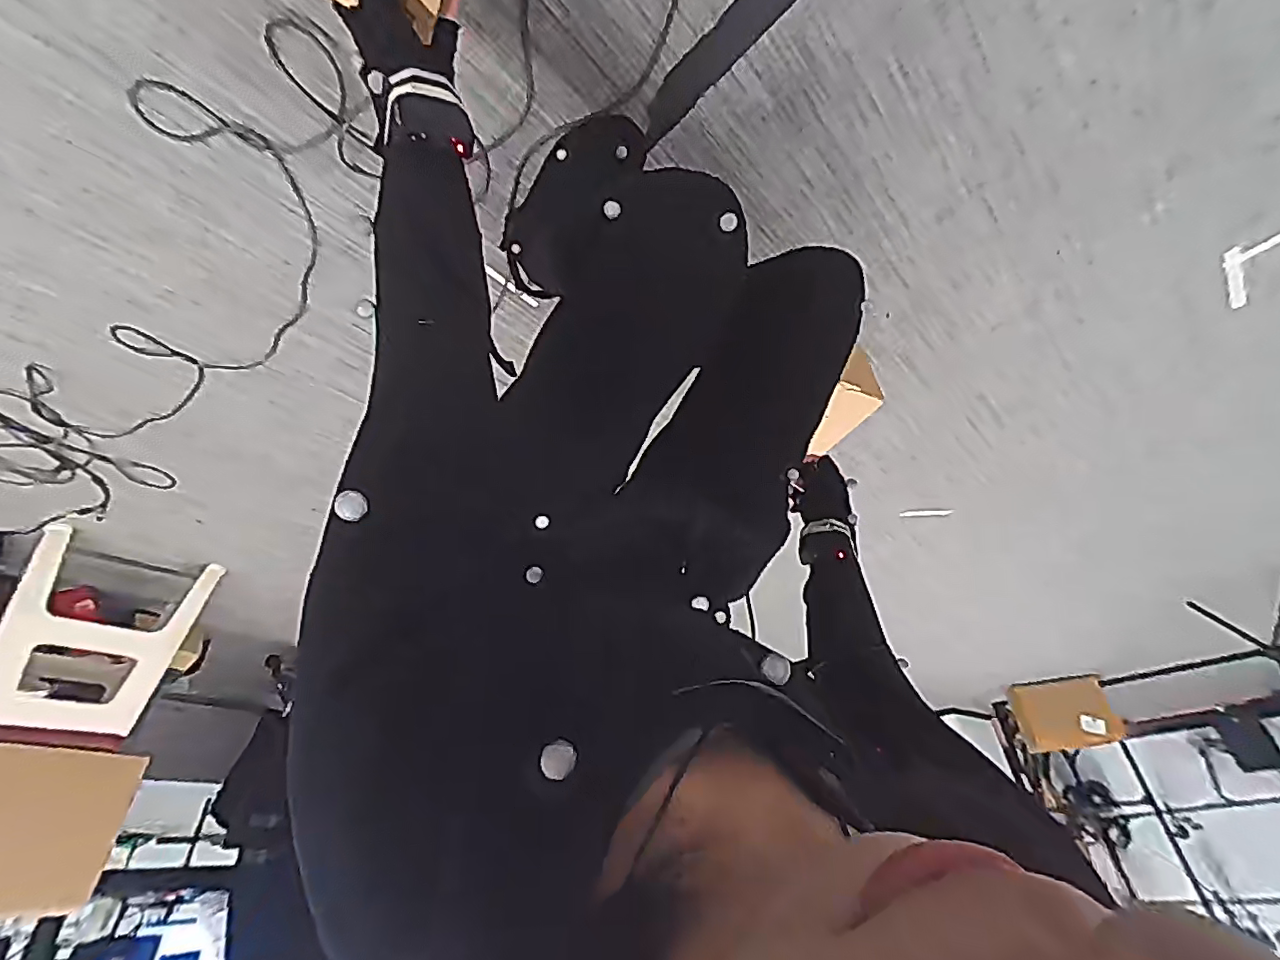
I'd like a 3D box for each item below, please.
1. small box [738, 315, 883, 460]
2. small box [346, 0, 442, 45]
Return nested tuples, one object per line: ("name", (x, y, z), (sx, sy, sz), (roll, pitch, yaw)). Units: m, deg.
("small box", (0.296, -0.167, 0.985), (0.168, 0.176, 0.179), (14, 141, -22))
("small box", (-0.226, -0.520, 0.437), (0.168, 0.176, 0.179), (16, 139, -27))
